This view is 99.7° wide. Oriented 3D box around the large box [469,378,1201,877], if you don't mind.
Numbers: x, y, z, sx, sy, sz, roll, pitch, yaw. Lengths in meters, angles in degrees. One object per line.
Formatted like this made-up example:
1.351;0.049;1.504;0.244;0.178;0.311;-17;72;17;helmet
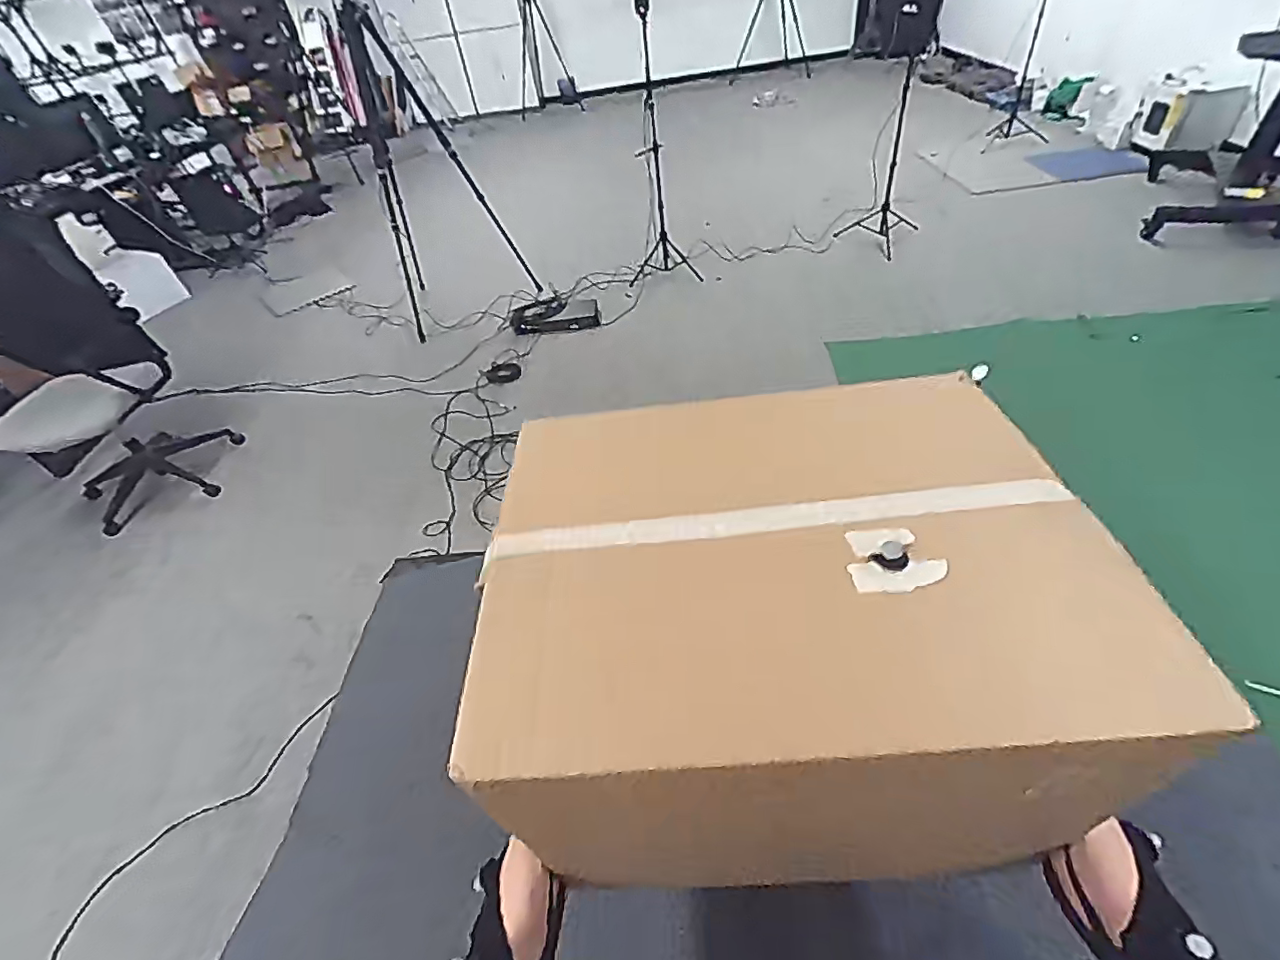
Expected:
0.109;0.139;0.500;0.408;0.320;0.320;-6;45;4;large box
